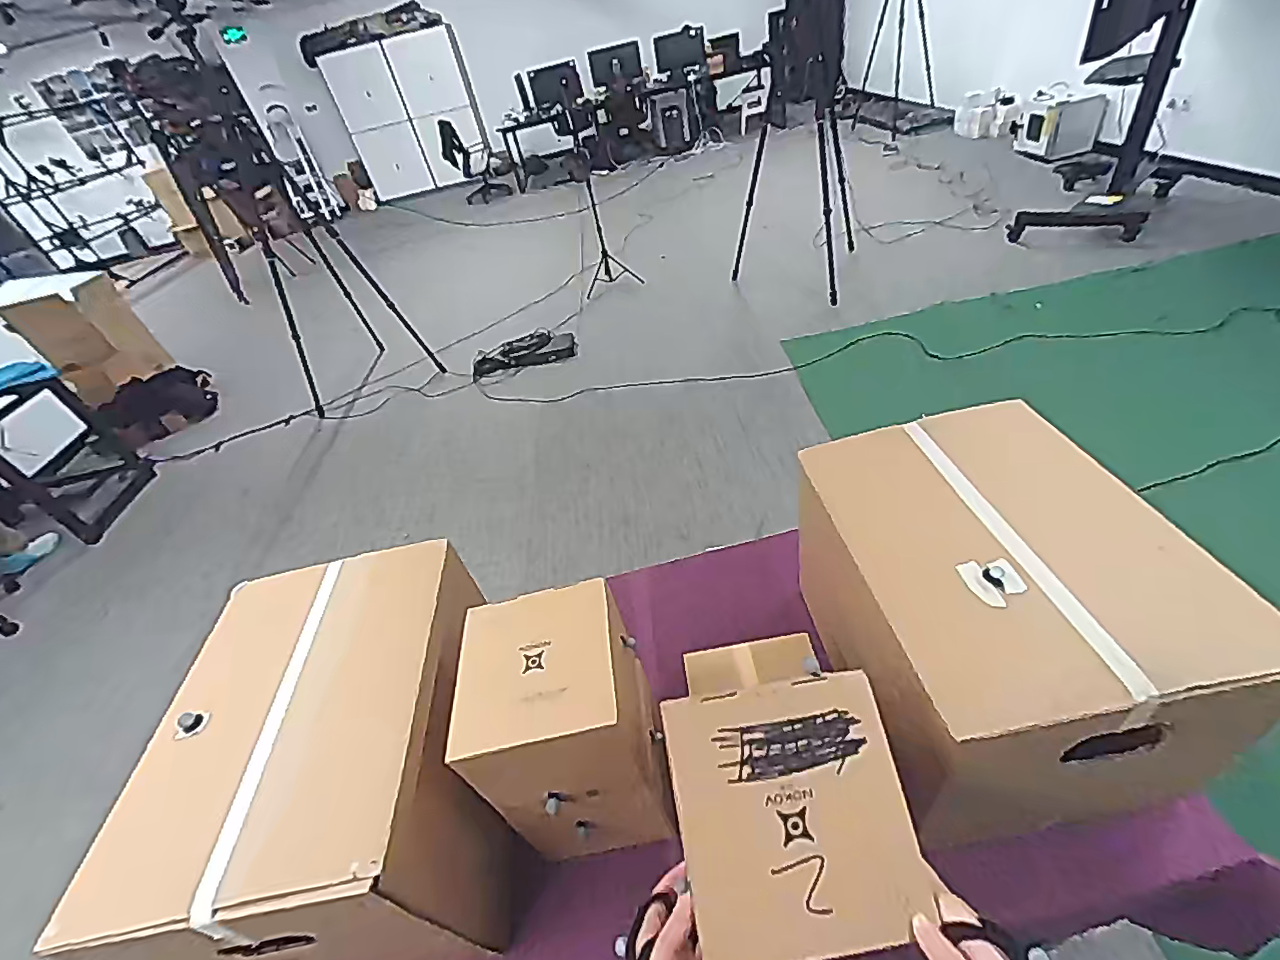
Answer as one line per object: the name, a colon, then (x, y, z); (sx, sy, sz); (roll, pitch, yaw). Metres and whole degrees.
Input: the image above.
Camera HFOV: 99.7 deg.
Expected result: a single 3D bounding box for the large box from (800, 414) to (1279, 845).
large box: (0.423, 0.173, 0.696); (0.320, 0.320, 0.408); (-13, 41, 3)
